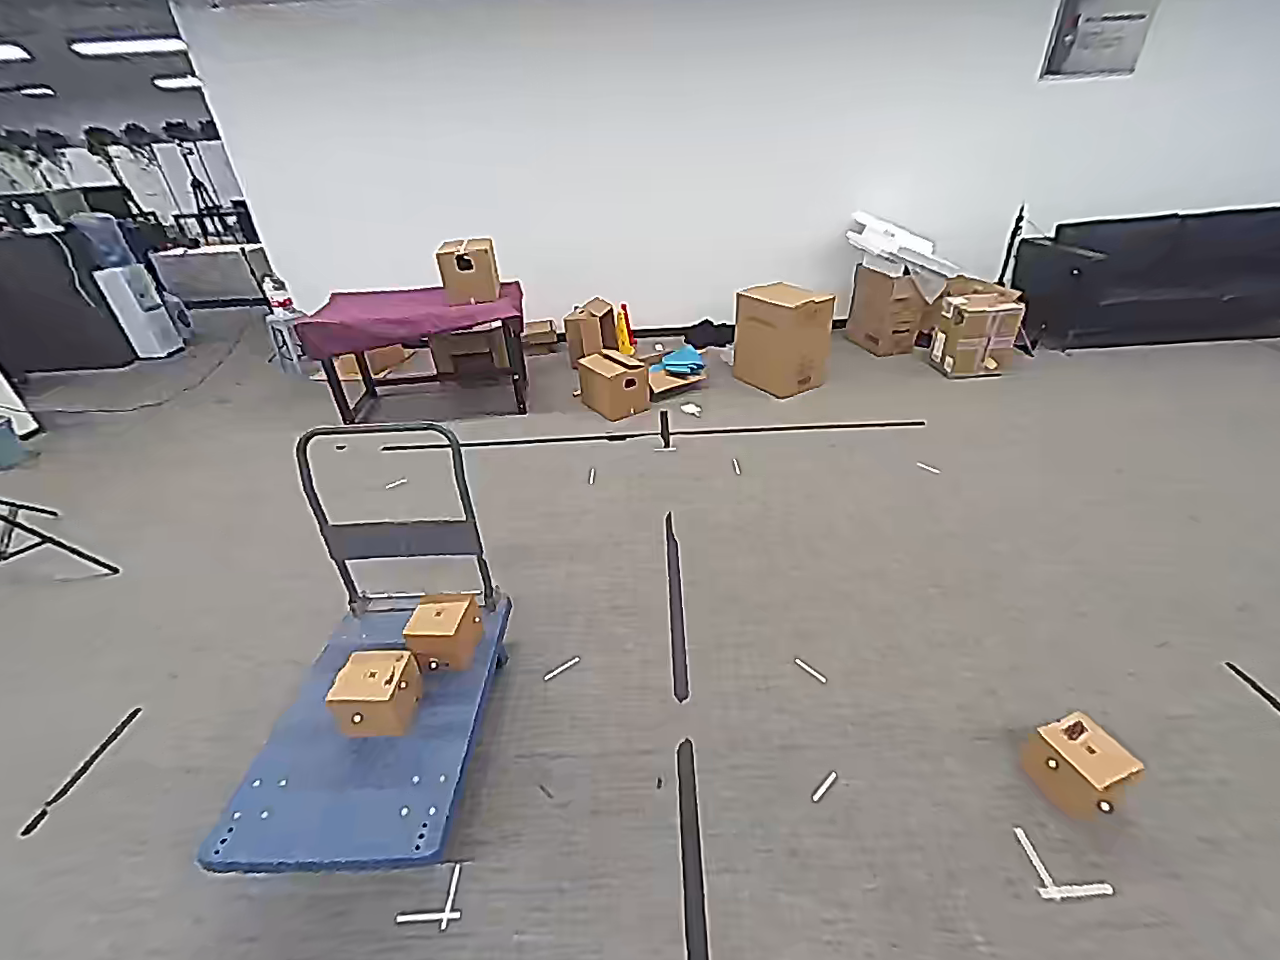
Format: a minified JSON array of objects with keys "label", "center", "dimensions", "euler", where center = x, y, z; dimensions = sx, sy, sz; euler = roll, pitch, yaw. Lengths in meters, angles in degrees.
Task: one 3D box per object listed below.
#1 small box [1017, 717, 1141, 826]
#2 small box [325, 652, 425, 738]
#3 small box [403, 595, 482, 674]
[{"label":"small box","center":[1.175,0.789,1.464],"dimensions":[0.168,0.176,0.179],"euler":[-12,34,-14]},{"label":"small box","center":[-0.744,0.613,1.538],"dimensions":[0.179,0.176,0.168],"euler":[-2,33,3]},{"label":"small box","center":[-0.621,0.491,1.727],"dimensions":[0.168,0.176,0.179],"euler":[-1,33,6]}]
